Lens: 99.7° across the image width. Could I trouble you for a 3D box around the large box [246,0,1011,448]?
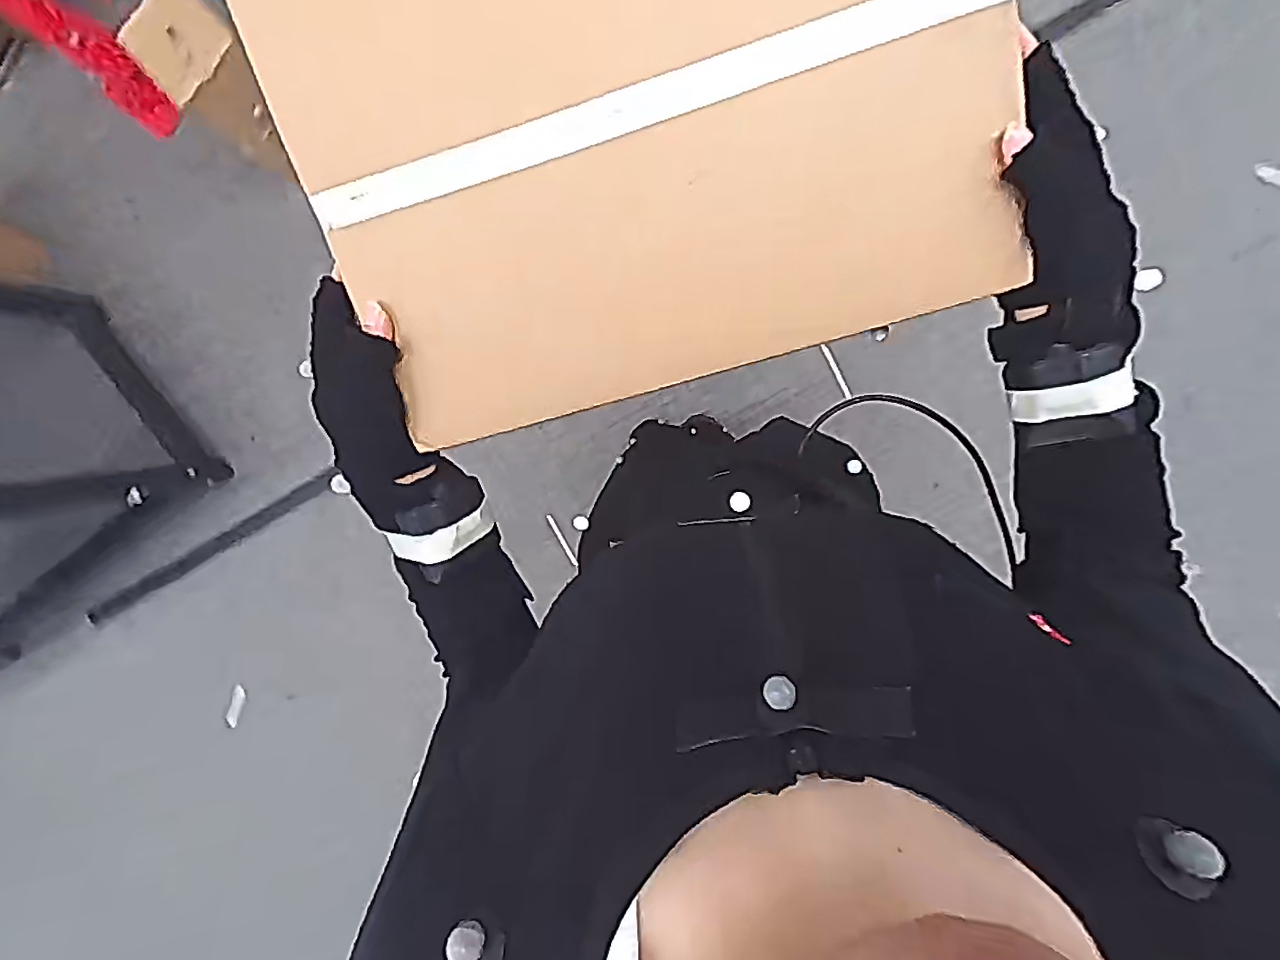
[{"bbox_3d":[0.007,-0.258,0.457,0.408,0.320,0.320,-14,106,6],"label":"large box"}]
